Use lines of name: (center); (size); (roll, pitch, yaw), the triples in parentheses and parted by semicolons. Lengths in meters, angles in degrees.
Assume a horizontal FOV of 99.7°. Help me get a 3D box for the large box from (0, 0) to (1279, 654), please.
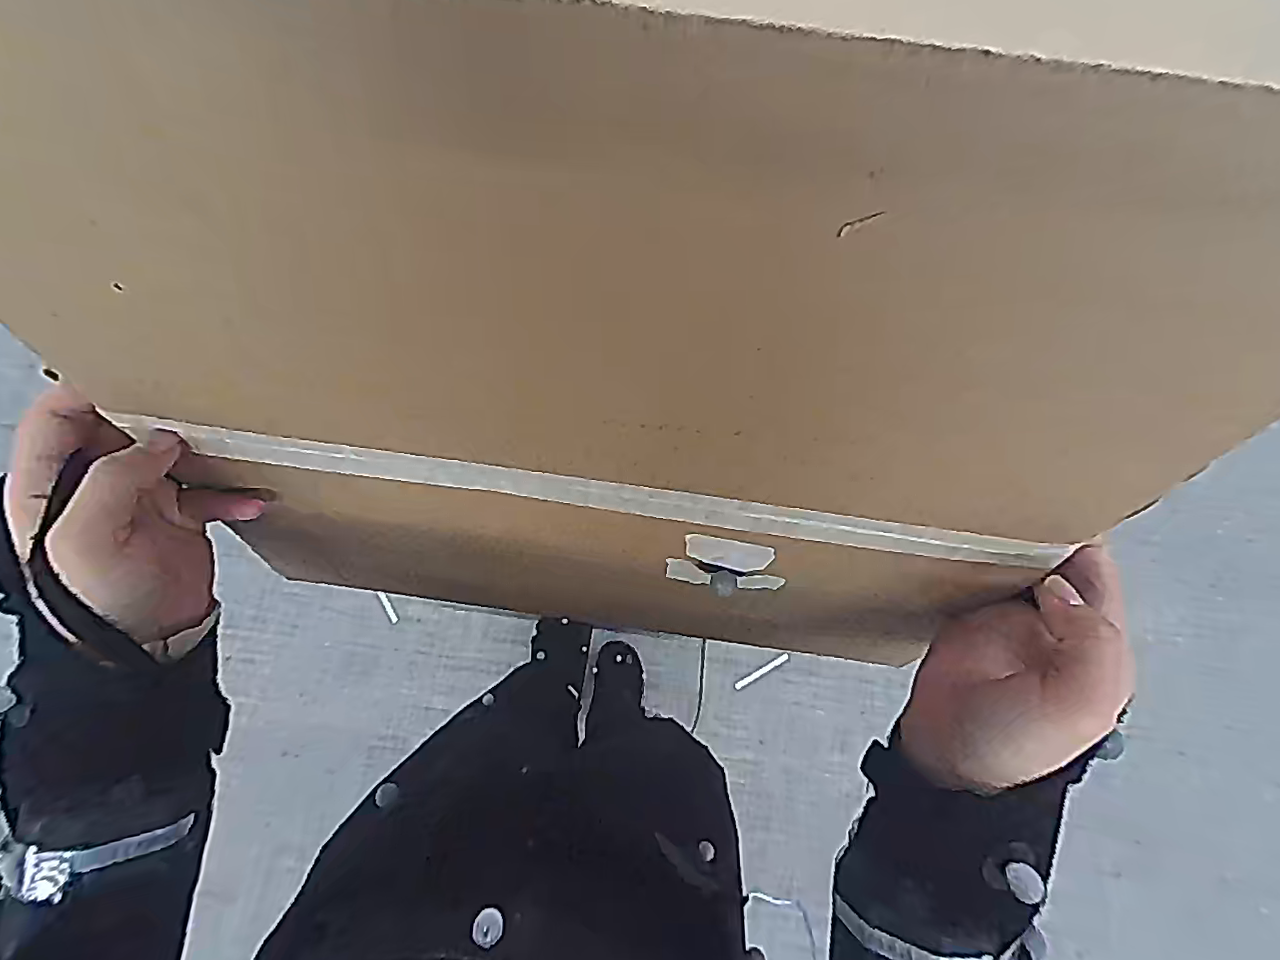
large box: (-0.008, -0.119, 0.324); (0.408, 0.320, 0.320); (7, 55, 1)
